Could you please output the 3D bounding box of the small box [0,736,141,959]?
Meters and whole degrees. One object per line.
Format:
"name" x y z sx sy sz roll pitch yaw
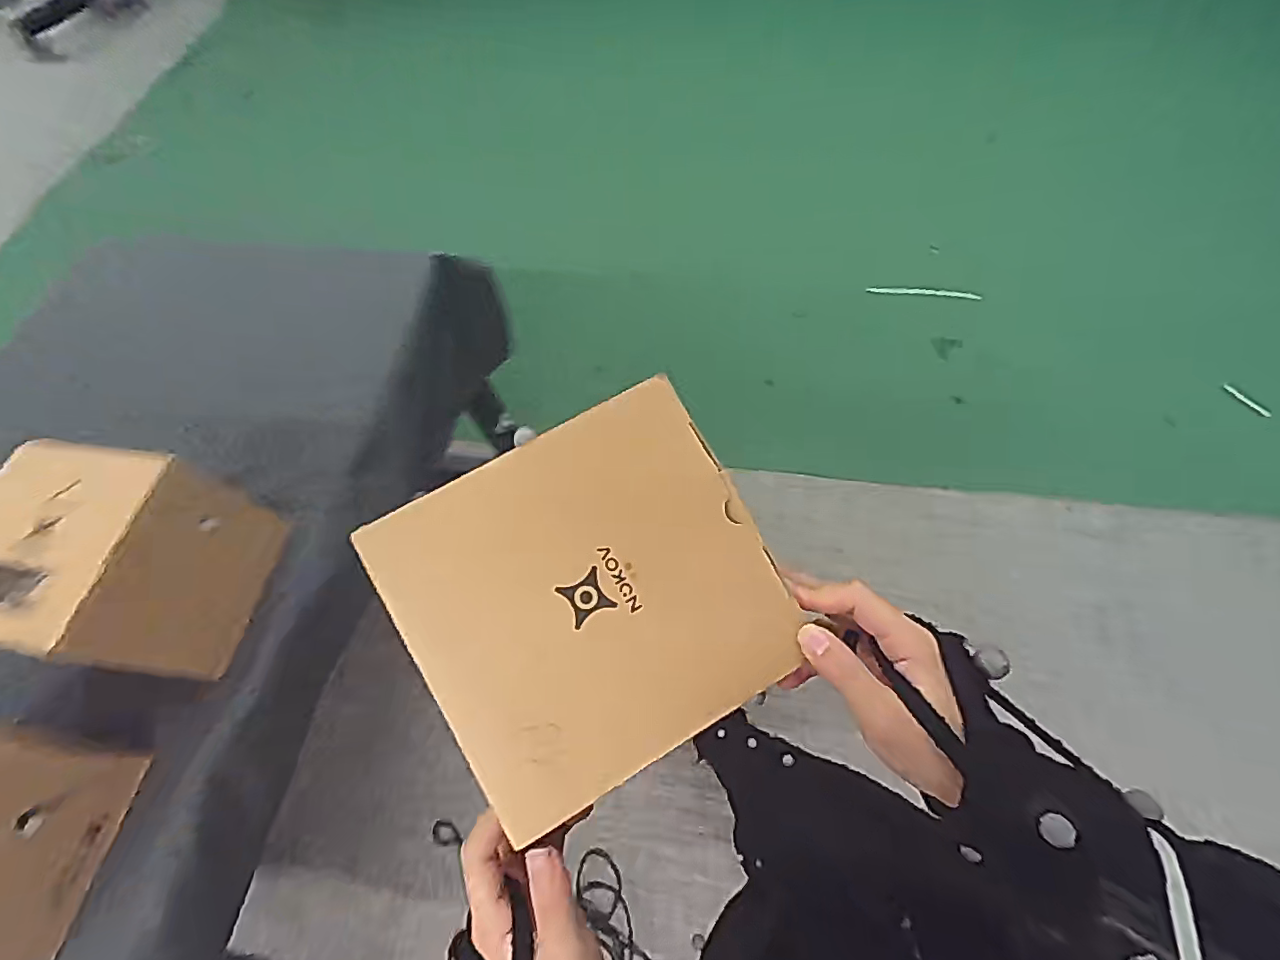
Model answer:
"small box" -0.581 0.305 0.437 0.179 0.176 0.168 5 63 10
